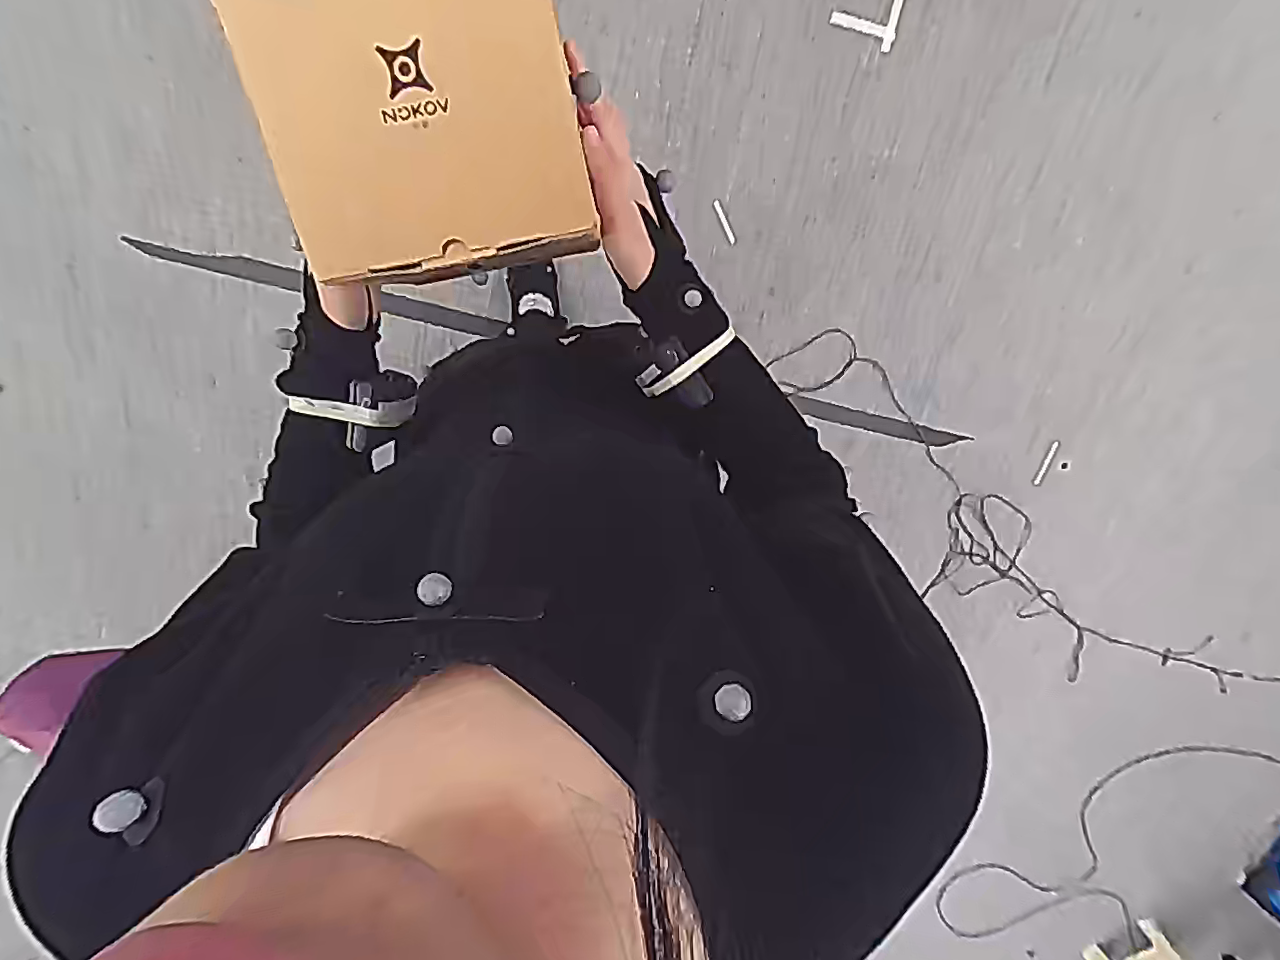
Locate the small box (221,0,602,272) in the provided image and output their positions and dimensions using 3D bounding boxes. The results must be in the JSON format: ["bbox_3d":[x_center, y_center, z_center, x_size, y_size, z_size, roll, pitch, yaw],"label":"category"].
[{"bbox_3d":[-0.123,-0.240,0.352,0.168,0.176,0.179,-11,112,0],"label":"small box"}]
